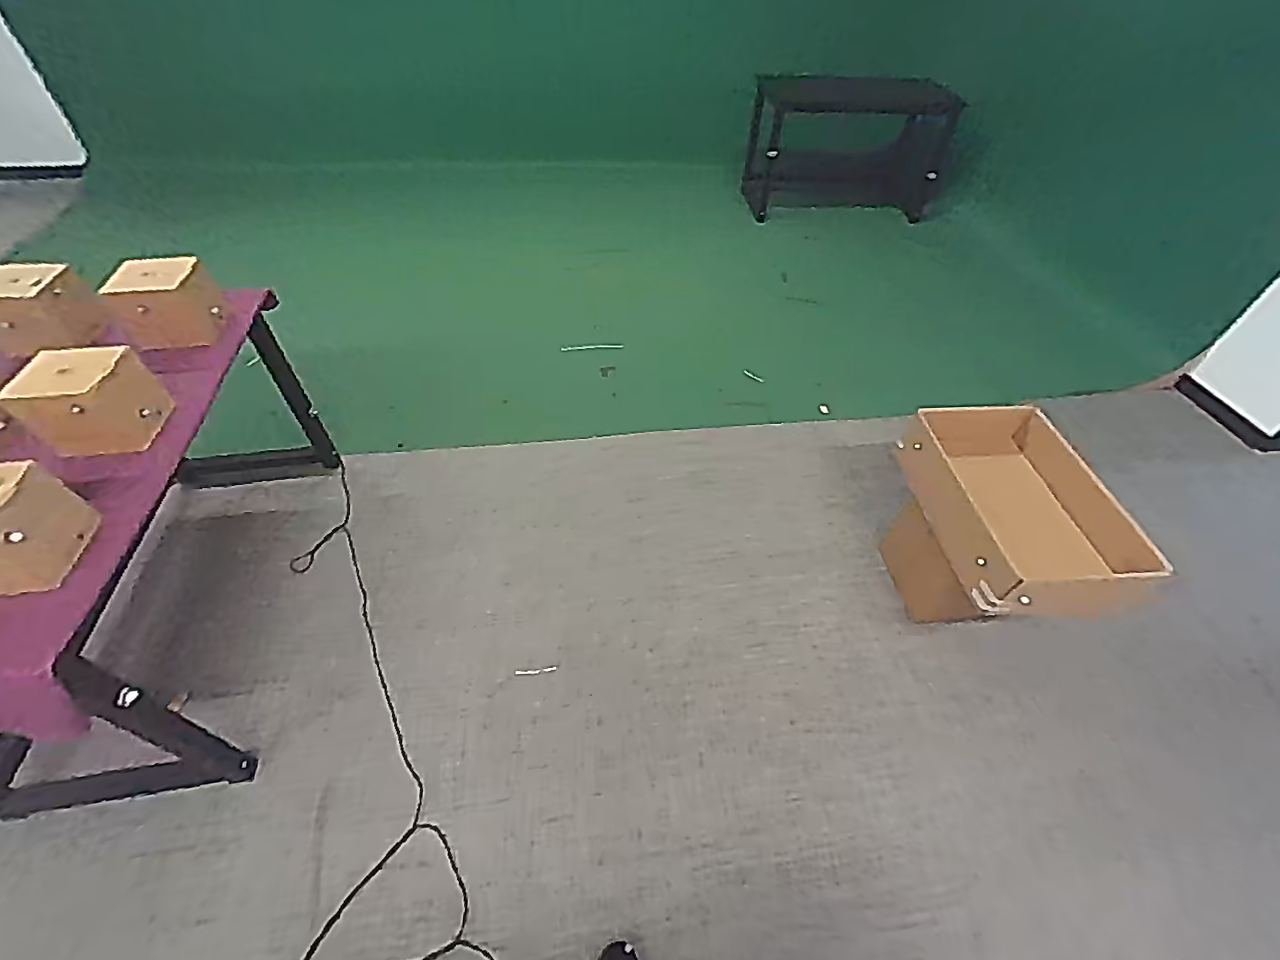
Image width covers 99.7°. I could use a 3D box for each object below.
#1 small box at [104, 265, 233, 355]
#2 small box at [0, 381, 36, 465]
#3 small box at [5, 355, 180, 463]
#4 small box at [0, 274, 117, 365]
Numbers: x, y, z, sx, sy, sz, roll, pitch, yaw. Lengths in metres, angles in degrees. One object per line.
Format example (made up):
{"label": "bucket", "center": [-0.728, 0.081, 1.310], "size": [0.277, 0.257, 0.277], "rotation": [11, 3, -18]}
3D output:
{"label": "small box", "center": [-1.245, -0.451, 1.444], "size": [0.179, 0.176, 0.168], "rotation": [-7, 51, -8]}
{"label": "small box", "center": [-1.488, -0.126, 1.160], "size": [0.179, 0.176, 0.168], "rotation": [-6, 50, -8]}
{"label": "small box", "center": [-1.184, -0.153, 1.189], "size": [0.179, 0.176, 0.168], "rotation": [-6, 49, -5]}
{"label": "small box", "center": [-1.551, -0.416, 1.411], "size": [0.179, 0.176, 0.168], "rotation": [-6, 50, -6]}
